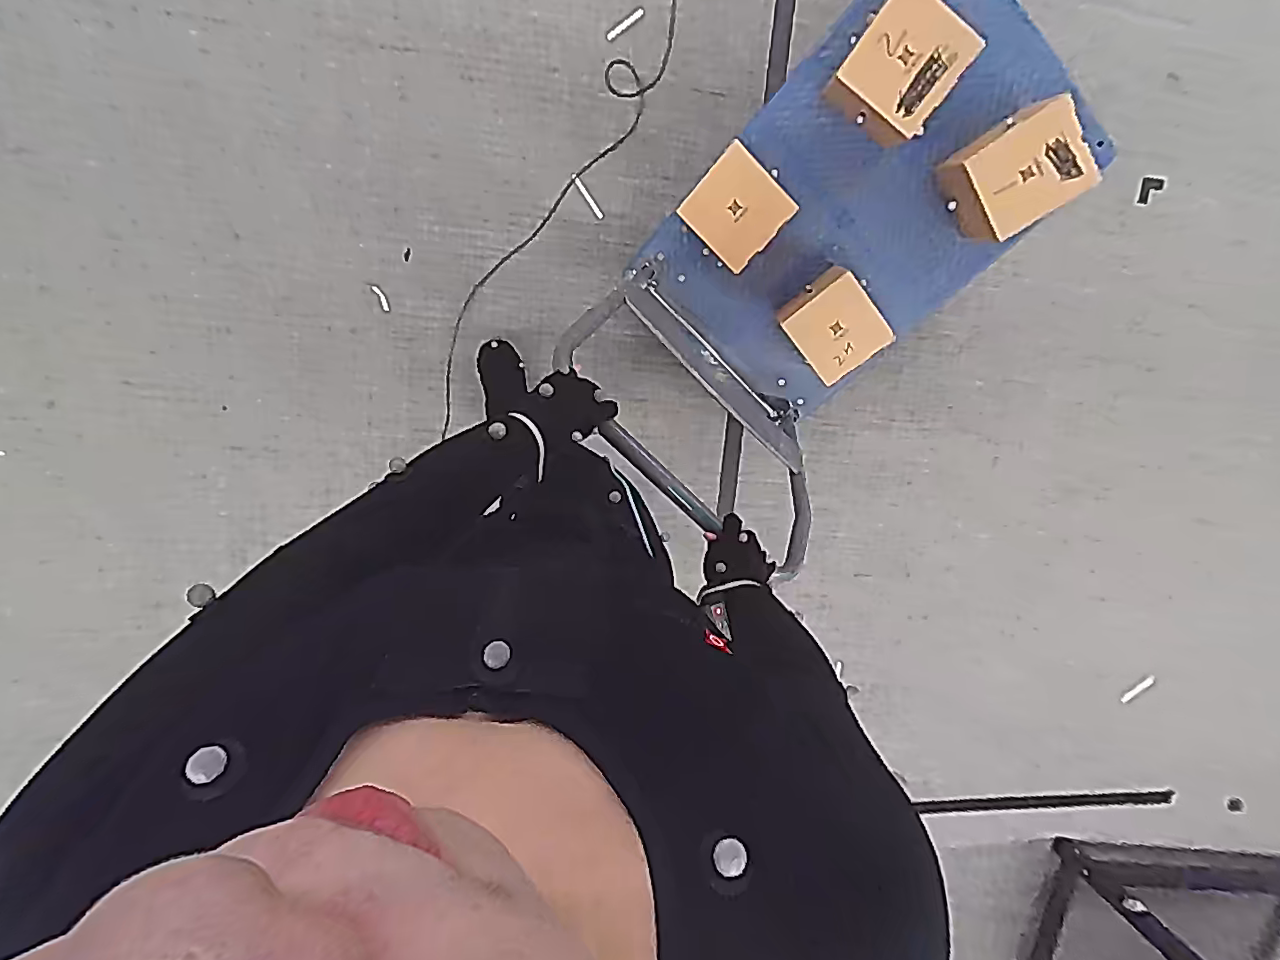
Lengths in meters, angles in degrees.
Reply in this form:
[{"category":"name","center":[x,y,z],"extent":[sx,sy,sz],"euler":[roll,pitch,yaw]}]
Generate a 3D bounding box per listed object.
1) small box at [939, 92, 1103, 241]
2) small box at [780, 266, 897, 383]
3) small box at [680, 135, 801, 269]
[{"category":"small box","center":[0.708,-0.581,1.022],"extent":[0.179,0.176,0.168],"euler":[-30,107,22]},{"category":"small box","center":[0.422,-0.345,1.182],"extent":[0.168,0.176,0.179],"euler":[-36,105,23]},{"category":"small box","center":[0.202,-0.564,1.114],"extent":[0.179,0.176,0.168],"euler":[41,115,-13]}]
